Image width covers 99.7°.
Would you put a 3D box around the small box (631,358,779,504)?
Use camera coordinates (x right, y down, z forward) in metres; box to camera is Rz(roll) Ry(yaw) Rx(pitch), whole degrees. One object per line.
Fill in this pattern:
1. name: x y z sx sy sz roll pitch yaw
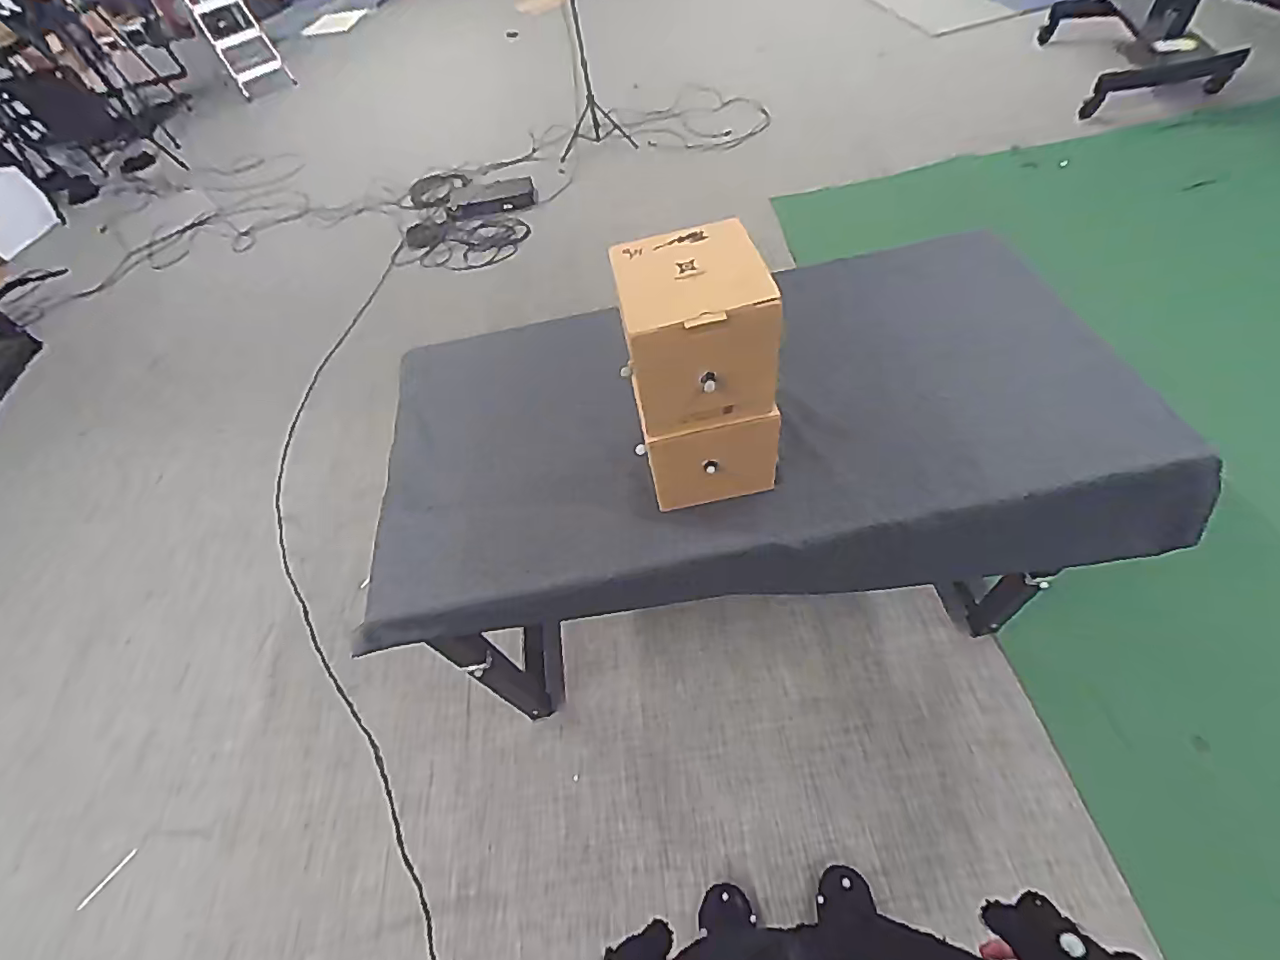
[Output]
1. small box: 0.092 -0.087 0.797 0.179 0.176 0.168 -12 54 2

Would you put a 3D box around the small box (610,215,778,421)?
1. small box: 0.066 -0.191 0.673 0.168 0.176 0.179 -12 54 1
